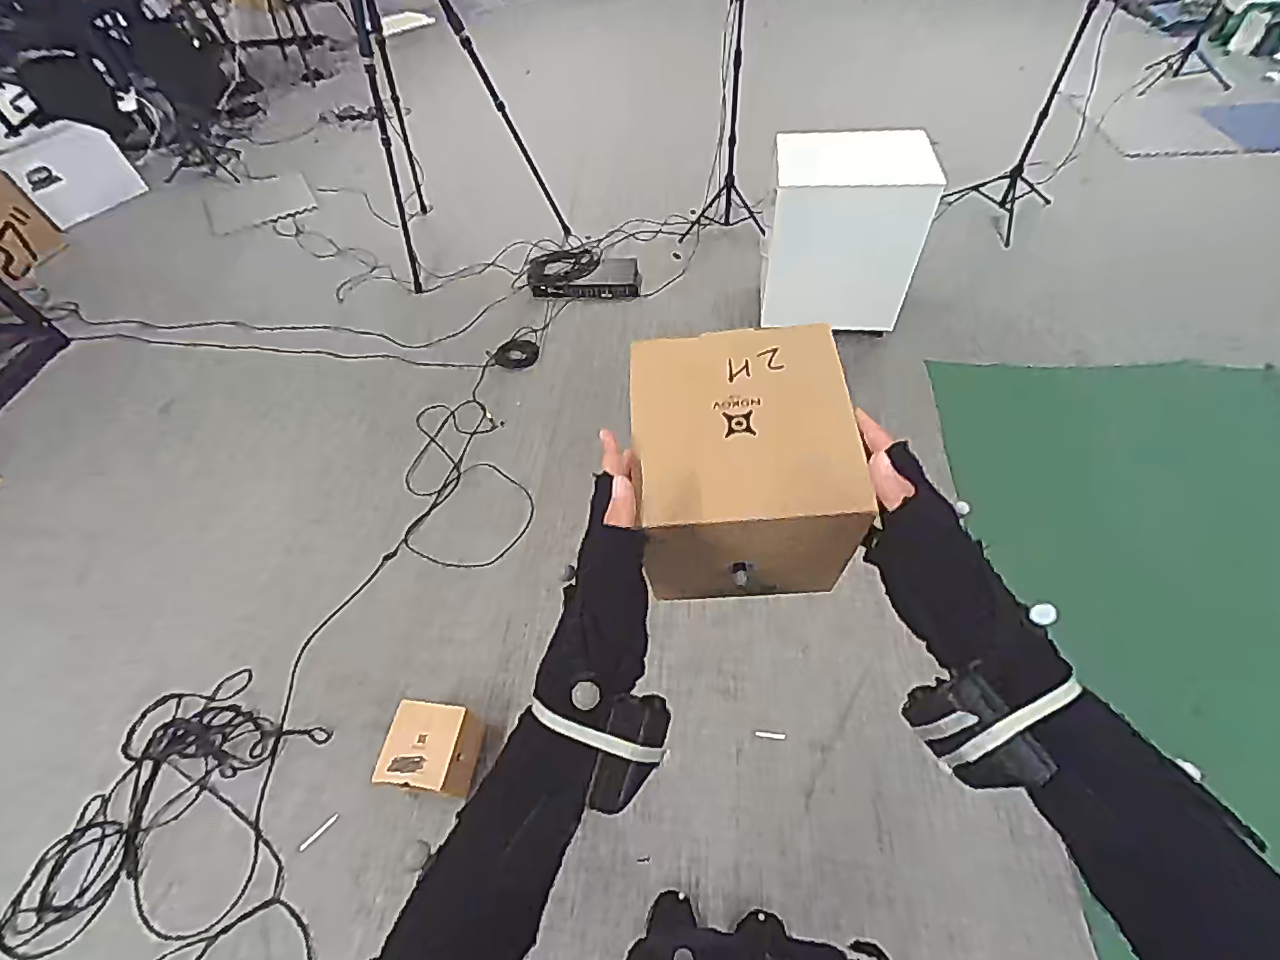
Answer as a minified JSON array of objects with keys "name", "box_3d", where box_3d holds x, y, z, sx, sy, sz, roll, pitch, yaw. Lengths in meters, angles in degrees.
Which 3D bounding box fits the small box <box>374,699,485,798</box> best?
[{"name":"small box","box_3d":[-0.488,0.643,1.289,0.168,0.176,0.179,4,53,8]}]

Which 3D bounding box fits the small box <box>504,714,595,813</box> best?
[{"name":"small box","box_3d":[-0.200,0.659,1.255,0.168,0.176,0.179,0,54,5]}]
